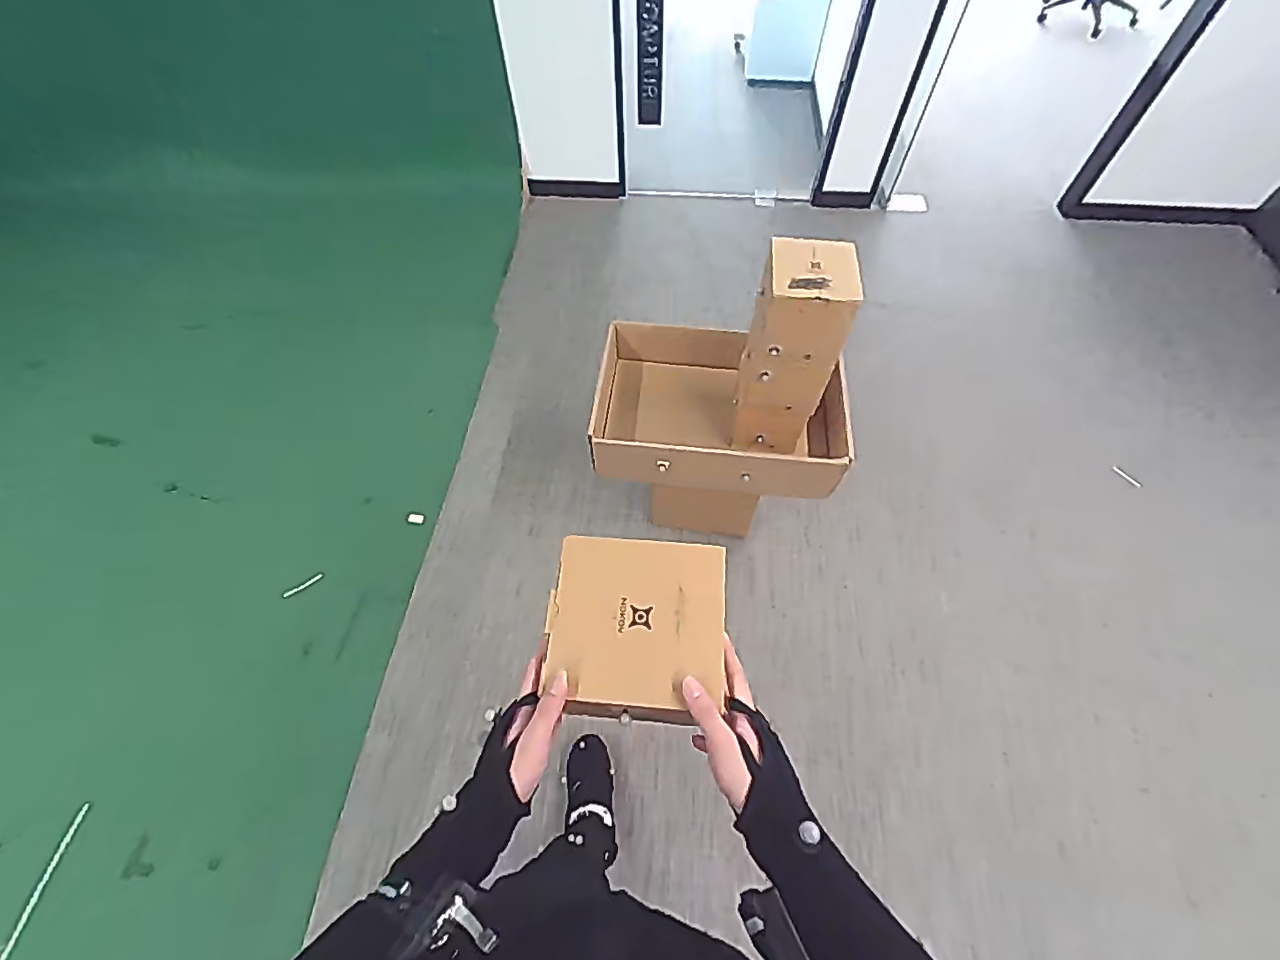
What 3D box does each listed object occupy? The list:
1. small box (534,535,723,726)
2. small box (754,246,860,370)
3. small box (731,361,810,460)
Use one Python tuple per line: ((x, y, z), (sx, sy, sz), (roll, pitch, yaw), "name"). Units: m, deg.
((-0.004, 0.175, 0.608), (0.179, 0.176, 0.168), (4, 61, 3), "small box")
((0.330, -0.345, 1.097), (0.168, 0.176, 0.179), (6, 58, 3), "small box")
((0.327, -0.175, 1.378), (0.168, 0.176, 0.179), (7, 59, 4), "small box")
